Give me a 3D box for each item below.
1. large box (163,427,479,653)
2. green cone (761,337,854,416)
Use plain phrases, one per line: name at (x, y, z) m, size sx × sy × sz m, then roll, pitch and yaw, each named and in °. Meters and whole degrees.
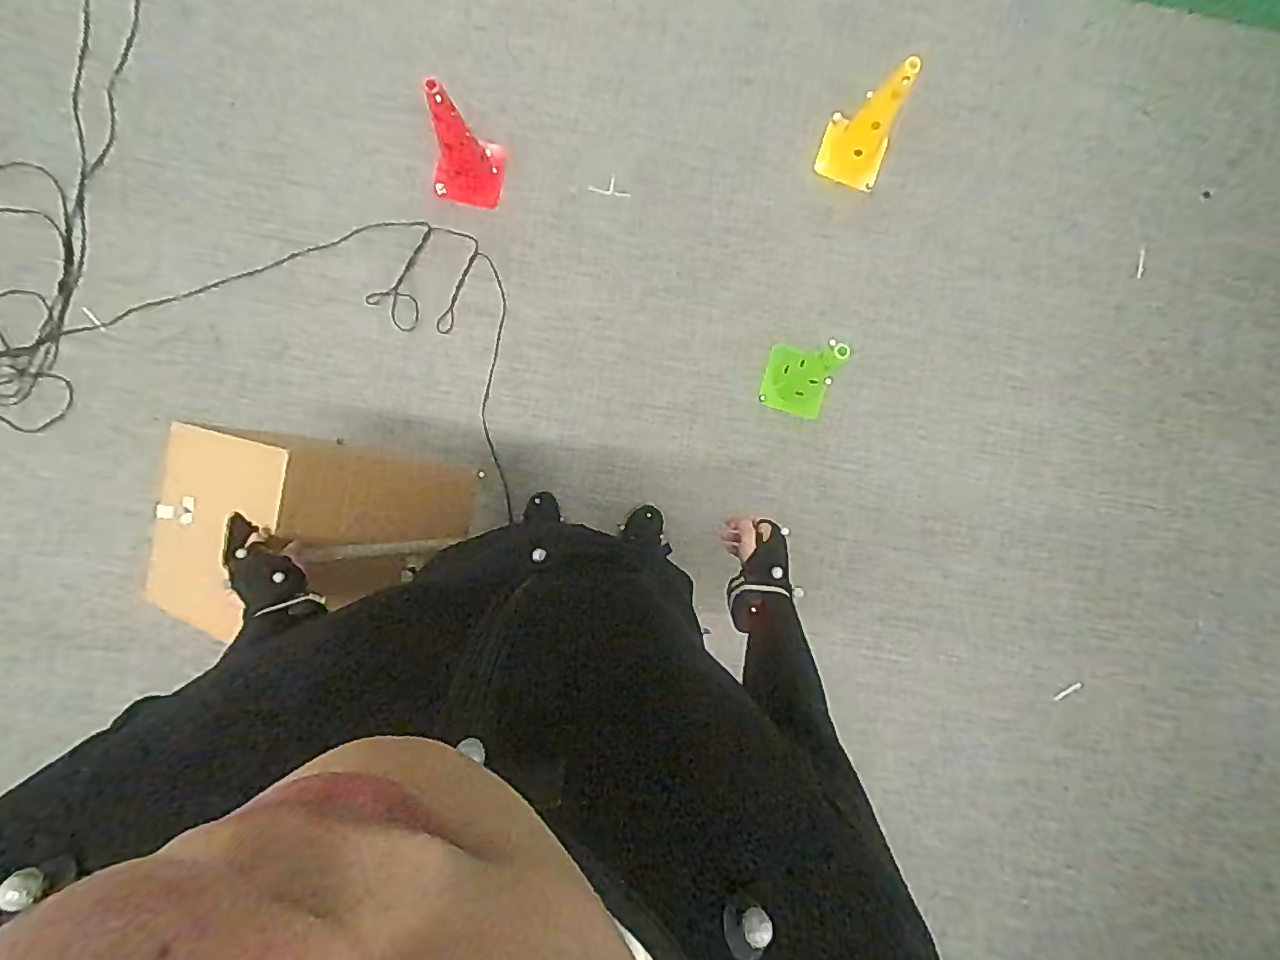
large box at (-0.578, 0.085, 1.026) m, size 0.320 × 0.408 × 0.320 m, roll 12°, pitch 93°, yaw 23°
green cone at (0.502, -0.322, 1.514) m, size 0.200 × 0.368 × 0.202 m, roll 16°, pitch 87°, yaw -3°
